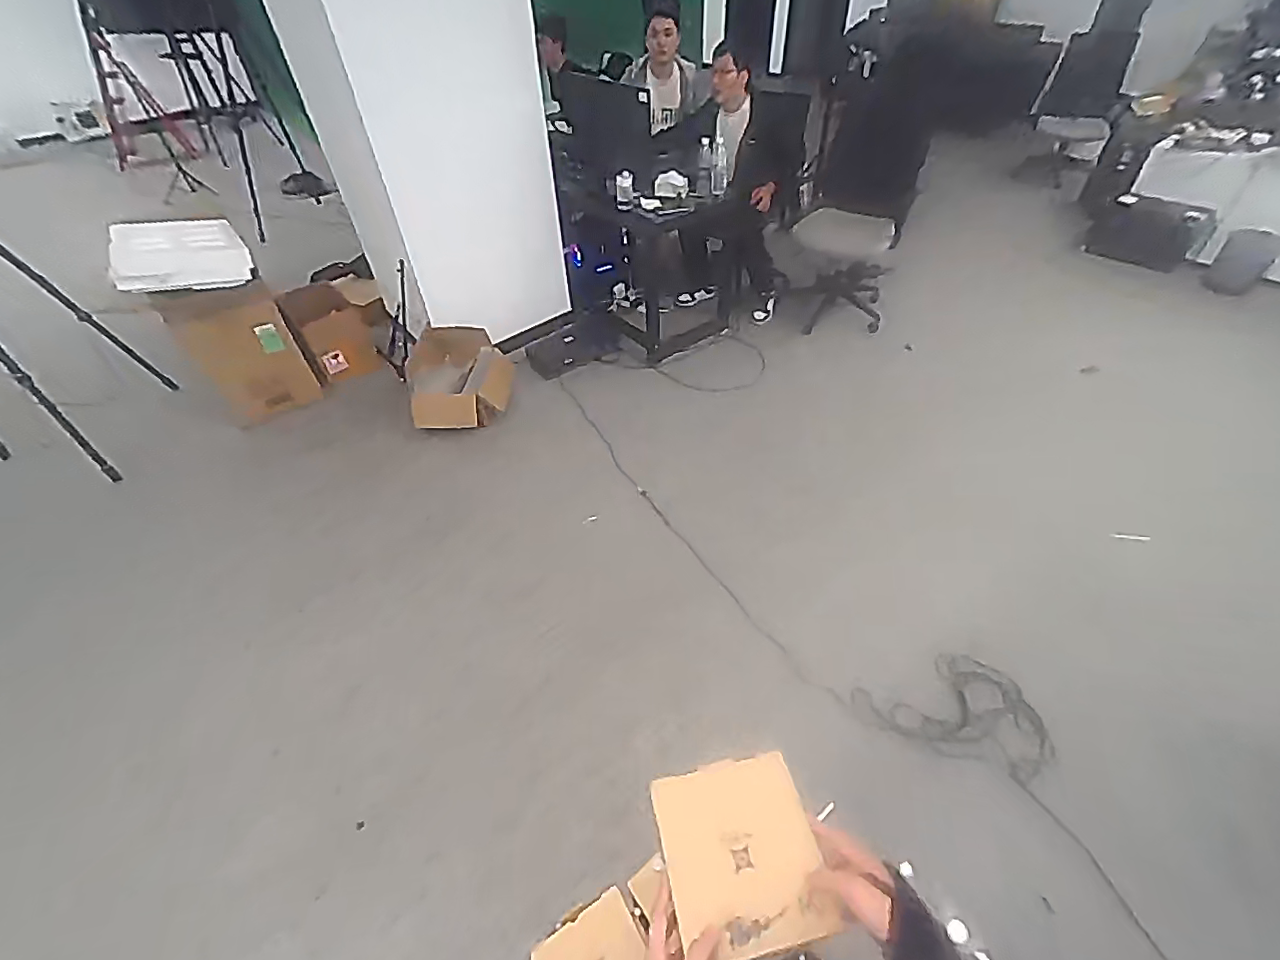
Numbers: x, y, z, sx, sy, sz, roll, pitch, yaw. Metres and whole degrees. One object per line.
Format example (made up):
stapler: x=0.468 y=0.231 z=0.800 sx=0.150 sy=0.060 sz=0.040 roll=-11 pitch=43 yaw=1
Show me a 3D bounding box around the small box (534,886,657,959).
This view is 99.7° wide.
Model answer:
small box: x=-0.055 y=0.827 z=0.894 sx=0.168 sy=0.176 sz=0.179 roll=-26 pitch=49 yaw=-19
